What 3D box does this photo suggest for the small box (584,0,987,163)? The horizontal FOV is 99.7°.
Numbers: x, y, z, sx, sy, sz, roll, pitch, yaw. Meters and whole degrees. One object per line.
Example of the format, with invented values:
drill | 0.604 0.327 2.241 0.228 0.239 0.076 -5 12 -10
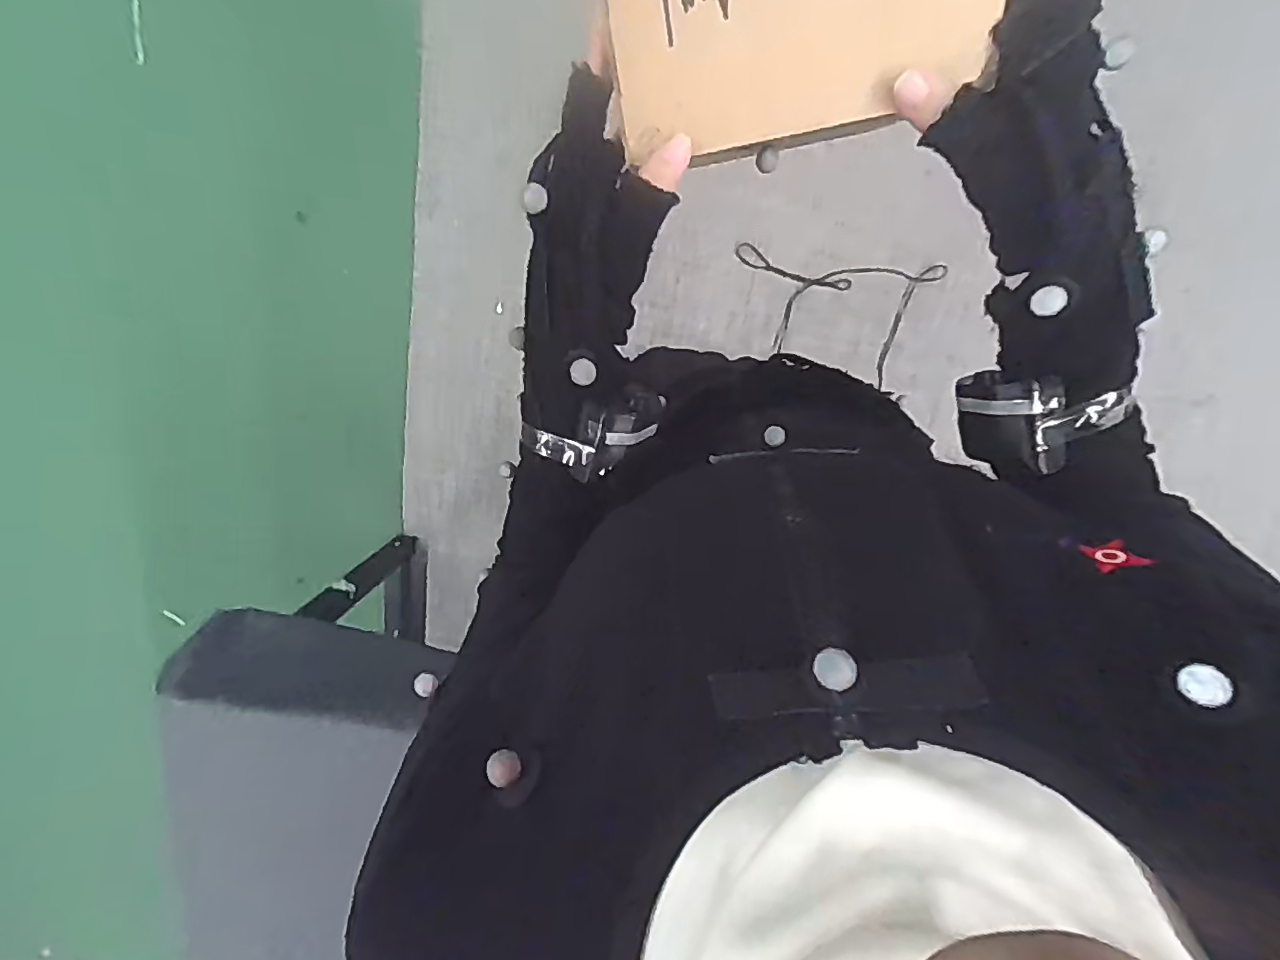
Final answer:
small box | 0.063 -0.281 0.293 0.179 0.176 0.168 -7 118 7
